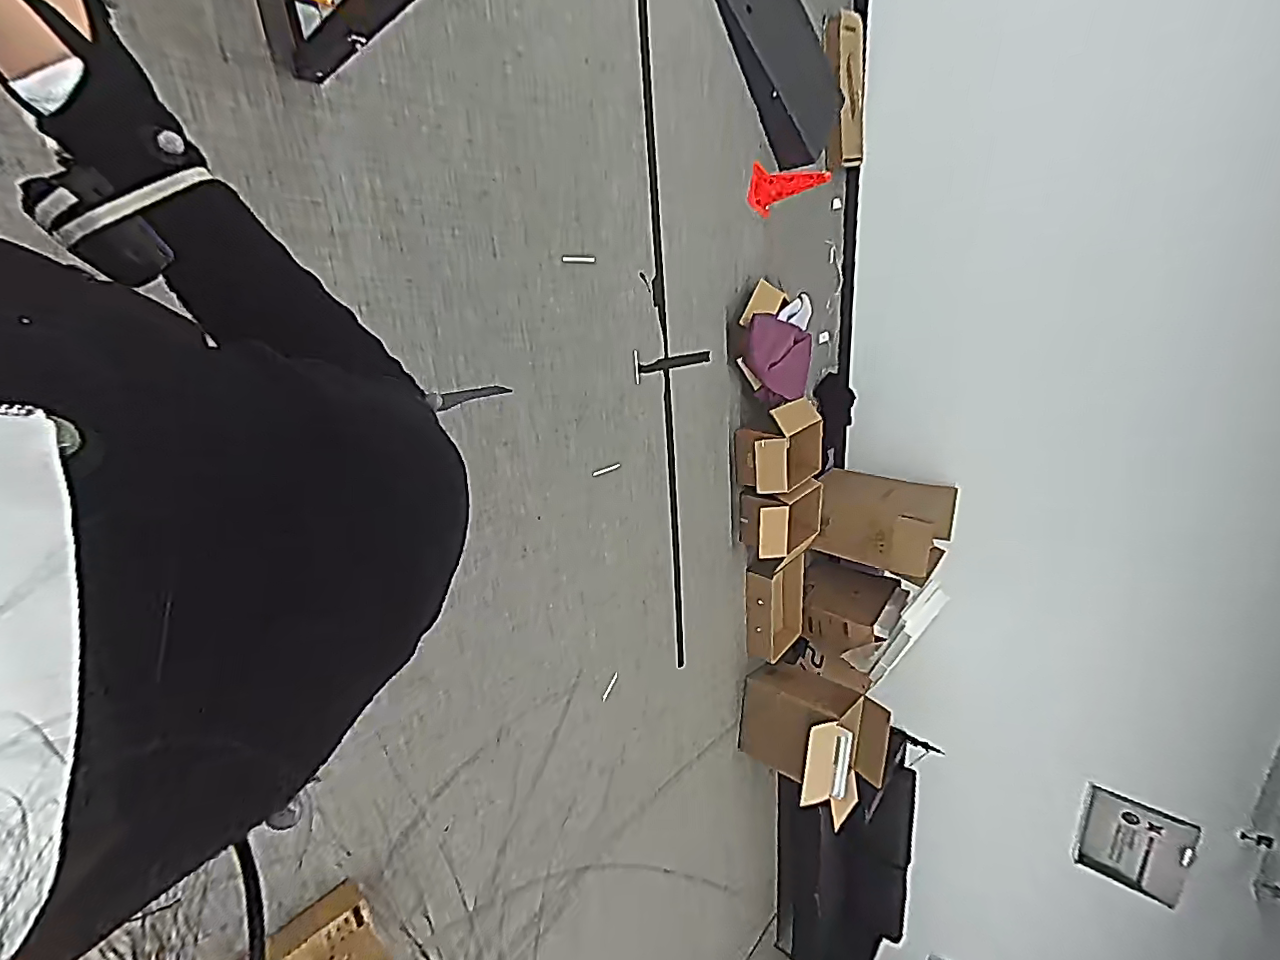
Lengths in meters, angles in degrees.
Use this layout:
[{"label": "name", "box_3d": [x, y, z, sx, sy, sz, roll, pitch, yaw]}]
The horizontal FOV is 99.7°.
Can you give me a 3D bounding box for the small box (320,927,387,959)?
[{"label": "small box", "box_3d": [-0.800, 1.424, 1.517, 0.168, 0.176, 0.179, -24, 117, -44]}]
